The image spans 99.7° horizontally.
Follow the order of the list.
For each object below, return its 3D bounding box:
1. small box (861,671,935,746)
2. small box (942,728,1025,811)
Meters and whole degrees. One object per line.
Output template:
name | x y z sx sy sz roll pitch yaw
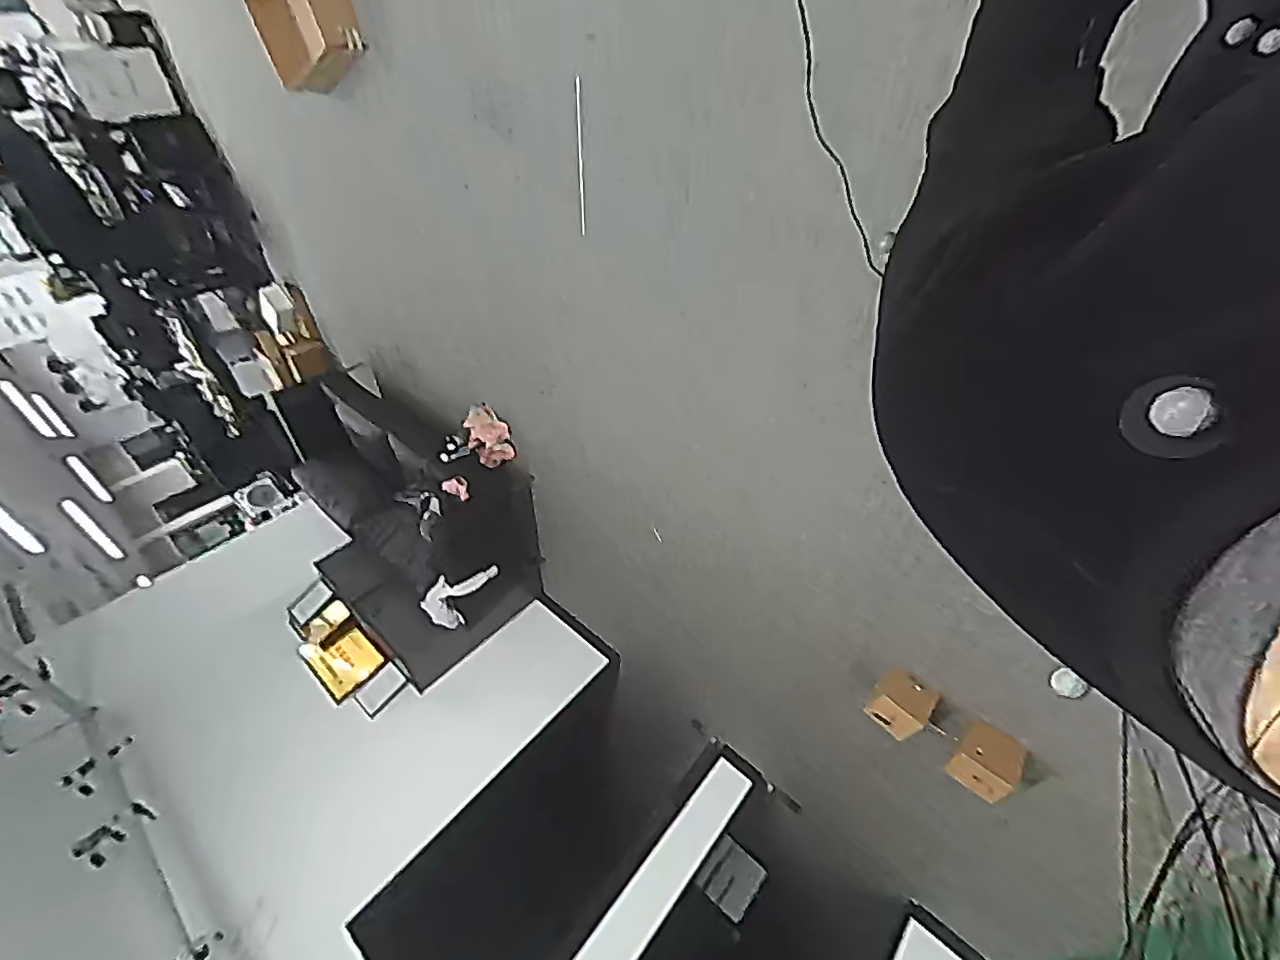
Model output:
small box | 0.977 0.860 2.040 0.168 0.176 0.179 38 141 21
small box | 1.206 1.006 1.900 0.179 0.176 0.168 31 139 28
